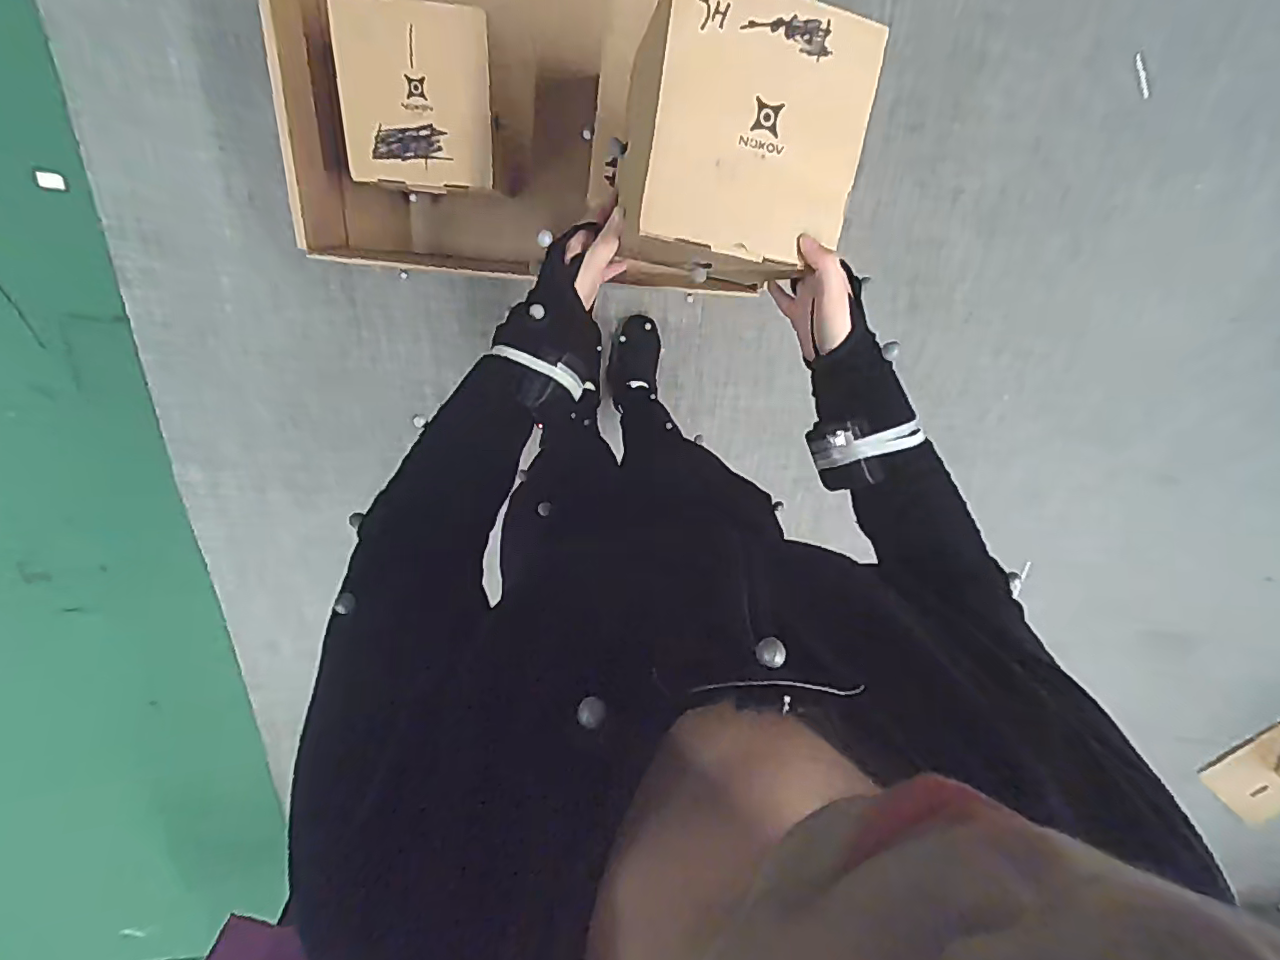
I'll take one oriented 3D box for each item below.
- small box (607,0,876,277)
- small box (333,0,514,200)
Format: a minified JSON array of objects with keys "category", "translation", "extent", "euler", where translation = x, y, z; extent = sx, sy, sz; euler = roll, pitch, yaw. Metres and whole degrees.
[{"category":"small box","translation":[0.068,-0.286,0.481],"extent":[0.168,0.176,0.179],"euler":[6,106,-13]},{"category":"small box","translation":[-0.255,-0.462,0.686],"extent":[0.168,0.176,0.179],"euler":[1,113,-6]}]
